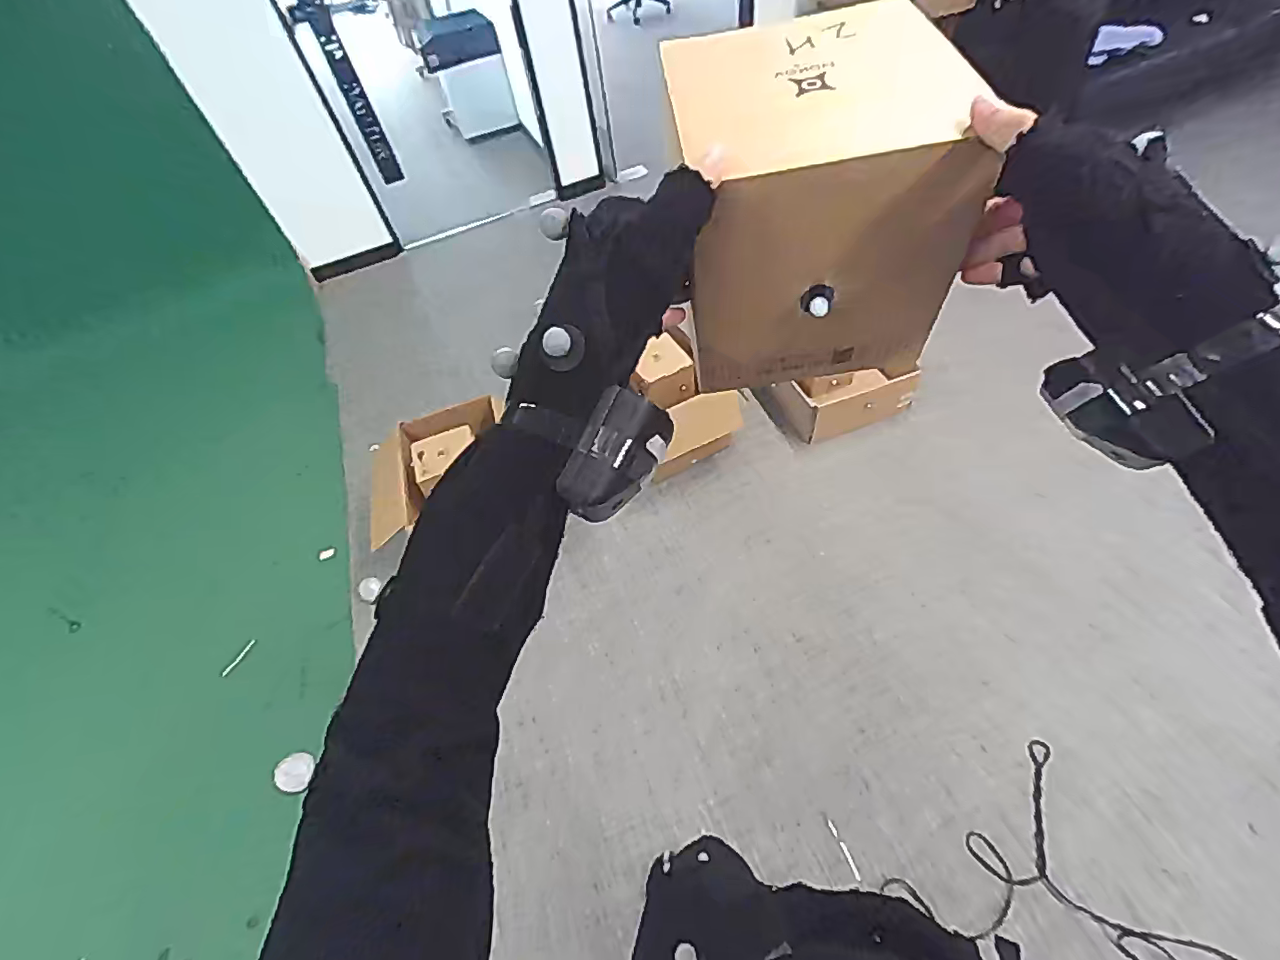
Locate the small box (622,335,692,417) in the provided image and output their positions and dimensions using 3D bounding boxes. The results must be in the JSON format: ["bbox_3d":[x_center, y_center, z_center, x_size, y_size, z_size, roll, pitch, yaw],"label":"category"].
[{"bbox_3d":[0.060,-0.326,1.735,0.168,0.176,0.179,-26,55,-12],"label":"small box"}]

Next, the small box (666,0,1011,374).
[{"bbox_3d":[0.114,-0.192,0.389,0.168,0.176,0.179,-7,58,4],"label":"small box"}]

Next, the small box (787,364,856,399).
[{"bbox_3d":[0.631,-0.415,1.886,0.168,0.176,0.179,-20,52,-7],"label":"small box"}]
